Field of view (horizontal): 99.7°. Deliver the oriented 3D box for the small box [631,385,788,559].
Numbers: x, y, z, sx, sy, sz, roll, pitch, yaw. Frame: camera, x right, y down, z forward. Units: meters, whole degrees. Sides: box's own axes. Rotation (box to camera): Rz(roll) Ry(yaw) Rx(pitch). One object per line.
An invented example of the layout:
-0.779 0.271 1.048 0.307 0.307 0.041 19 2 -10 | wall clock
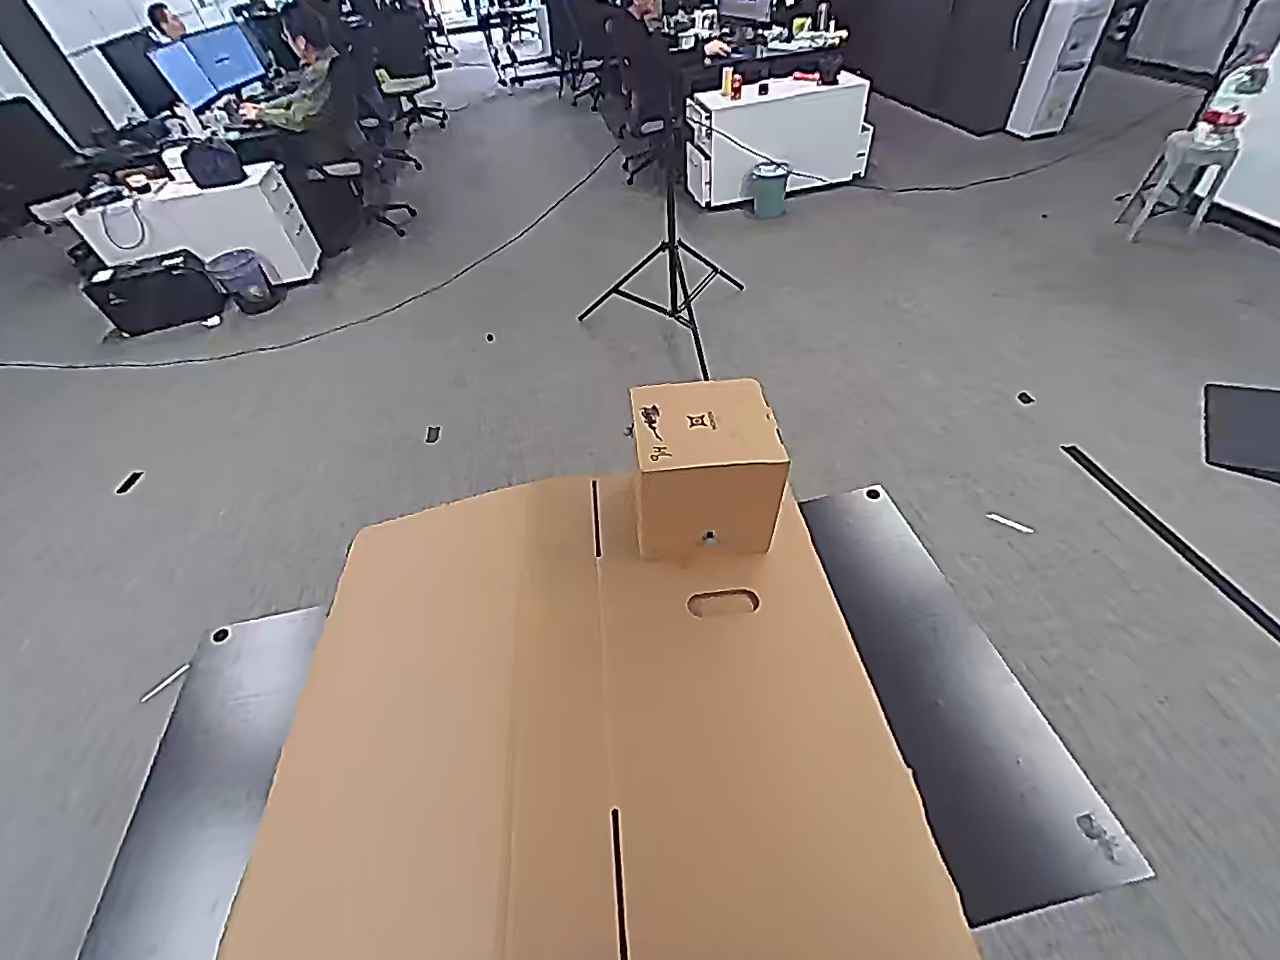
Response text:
0.080 -0.010 0.731 0.179 0.176 0.168 -4 44 -3 | small box
